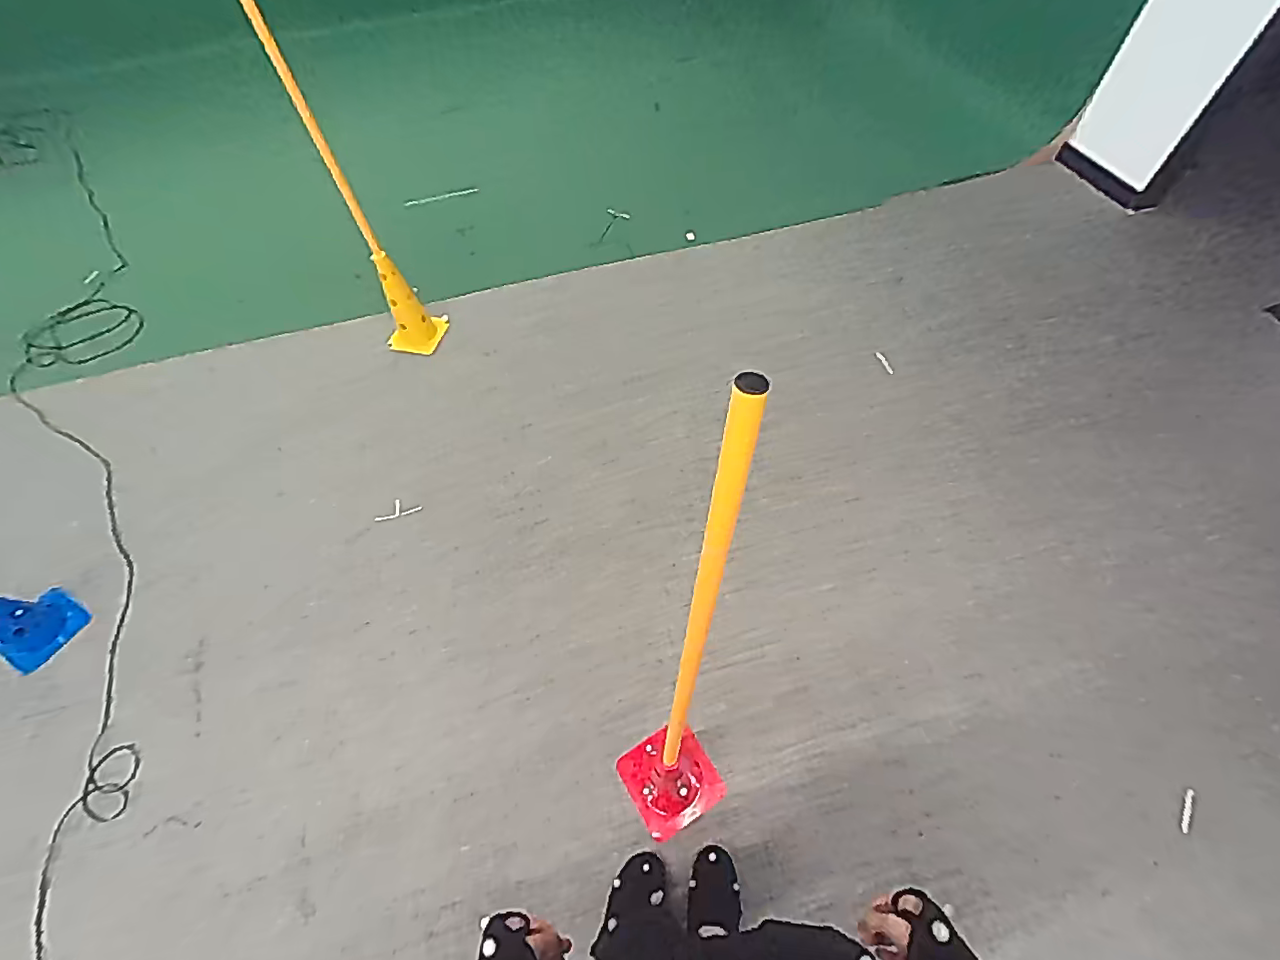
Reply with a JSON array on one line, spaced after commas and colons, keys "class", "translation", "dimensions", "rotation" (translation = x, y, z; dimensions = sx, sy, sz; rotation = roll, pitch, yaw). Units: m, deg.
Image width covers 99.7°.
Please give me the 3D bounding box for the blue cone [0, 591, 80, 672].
[{"class": "blue cone", "translation": [-1.714, 0.344, 1.386], "dimensions": [0.192, 0.380, 0.193], "rotation": [25, 64, 16]}]
